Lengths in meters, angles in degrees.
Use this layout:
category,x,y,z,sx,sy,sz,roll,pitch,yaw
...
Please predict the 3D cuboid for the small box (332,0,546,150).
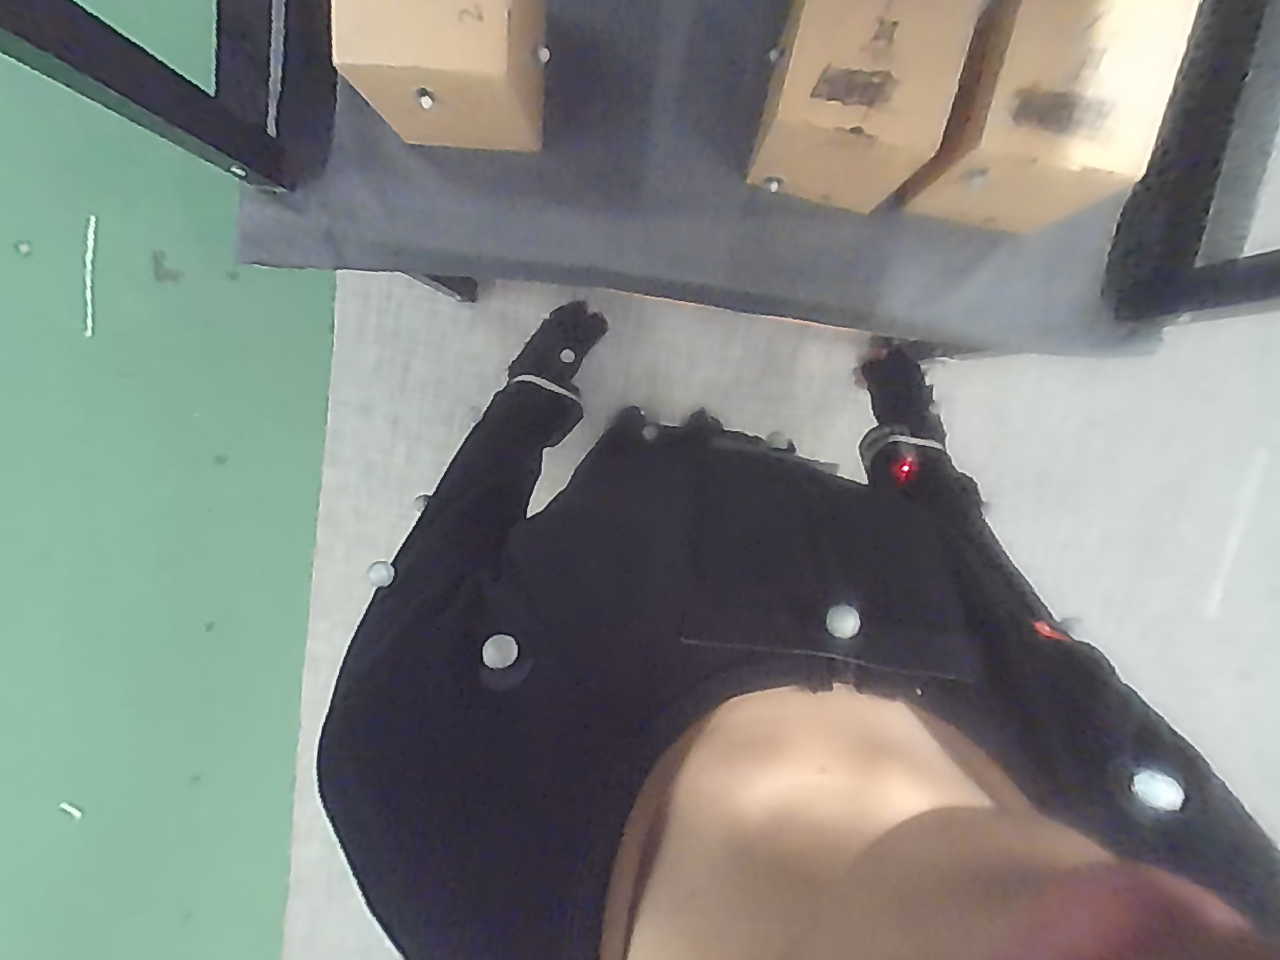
category,x,y,z,sx,sy,sz,roll,pitch,yaw
small box,-0.210,-0.494,0.601,0.179,0.176,0.168,4,99,0
